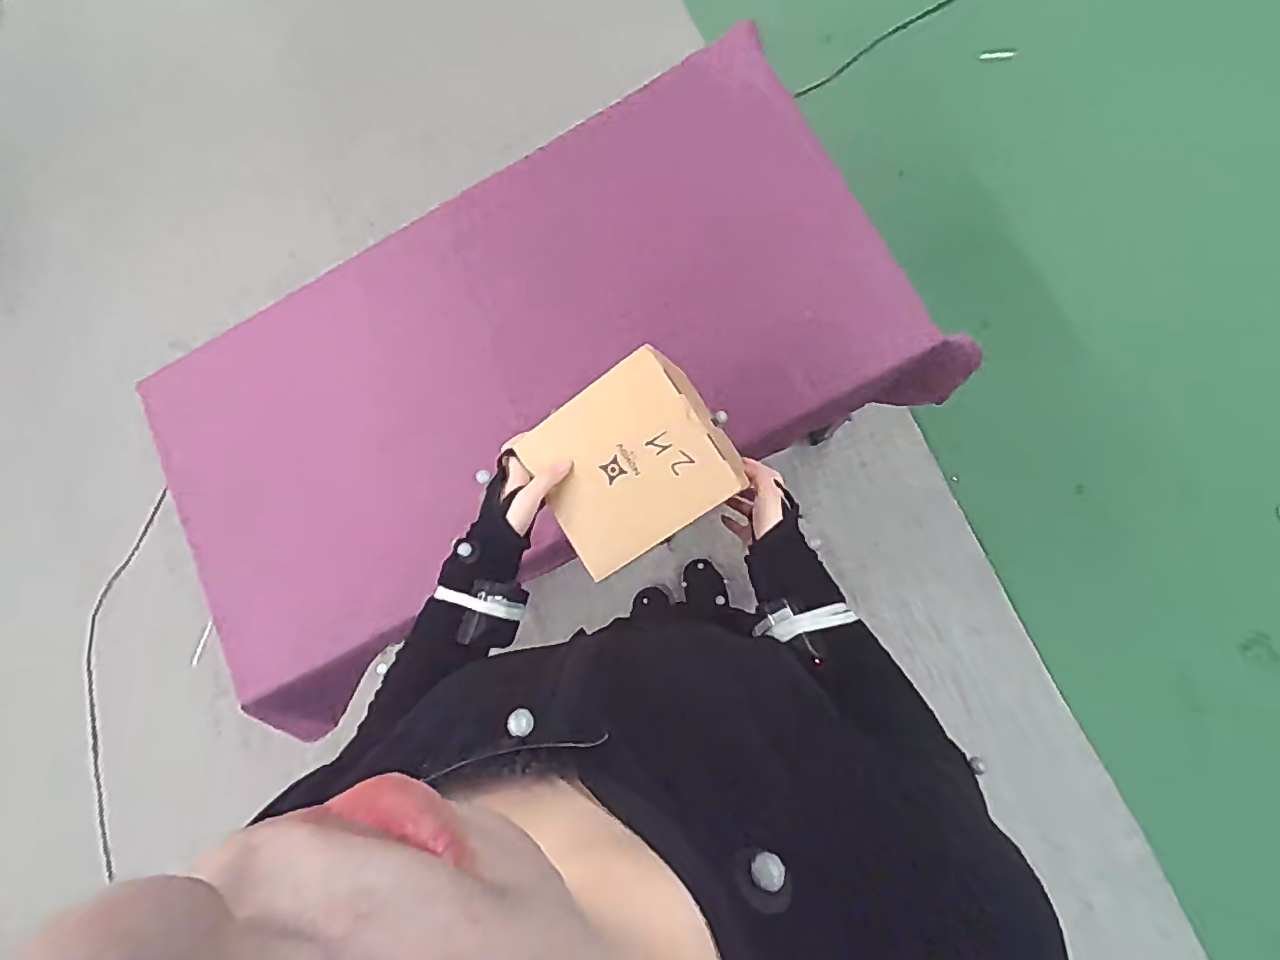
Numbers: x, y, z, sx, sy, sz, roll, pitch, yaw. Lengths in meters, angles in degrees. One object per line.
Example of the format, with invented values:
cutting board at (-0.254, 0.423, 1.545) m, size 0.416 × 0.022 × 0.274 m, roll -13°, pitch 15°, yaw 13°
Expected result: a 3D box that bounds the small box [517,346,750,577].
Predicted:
small box at (0.005, -0.018, 0.600) m, size 0.179 × 0.176 × 0.168 m, roll -34°, pitch 84°, yaw 14°
